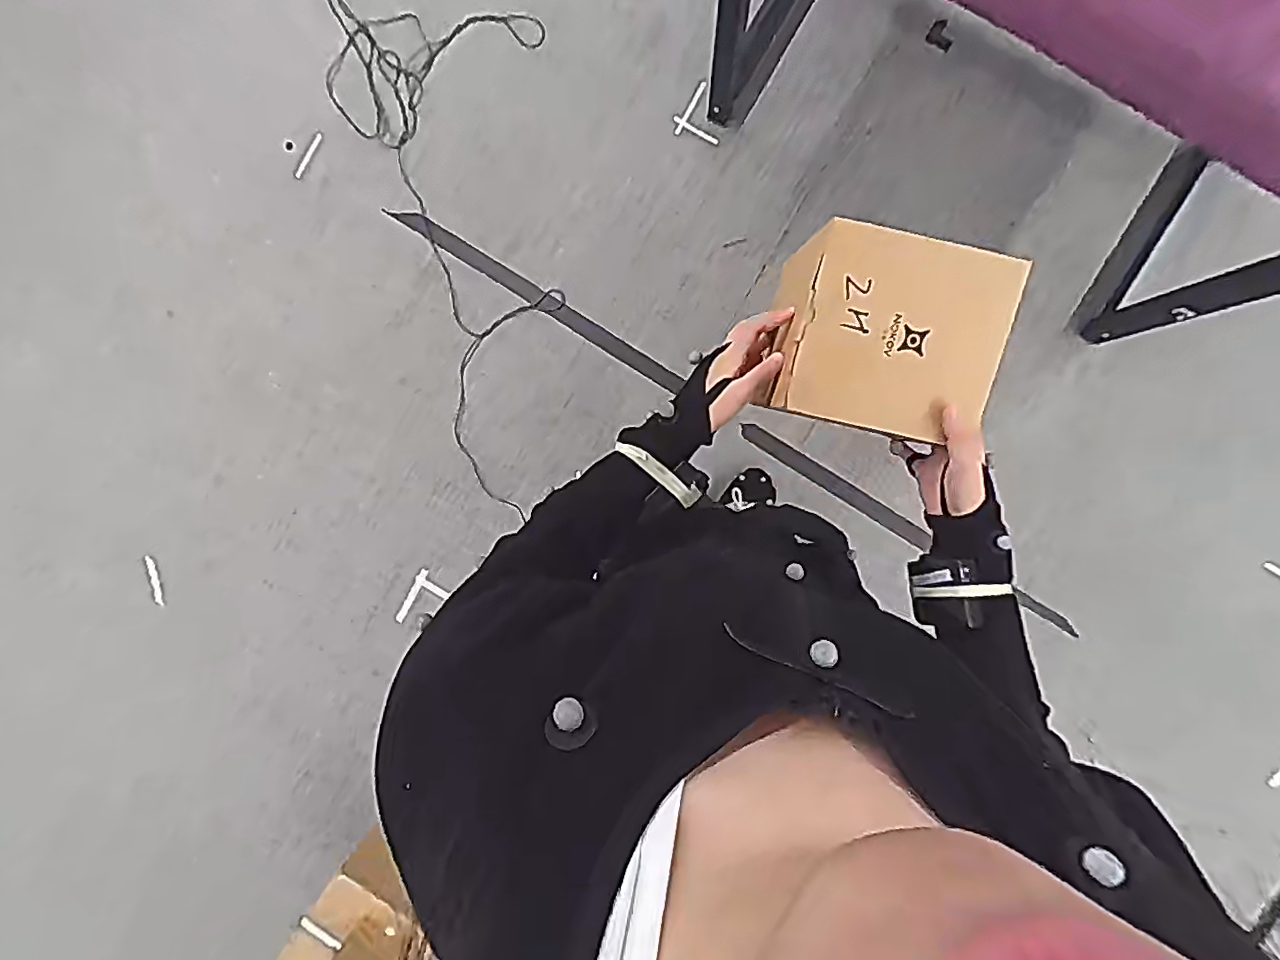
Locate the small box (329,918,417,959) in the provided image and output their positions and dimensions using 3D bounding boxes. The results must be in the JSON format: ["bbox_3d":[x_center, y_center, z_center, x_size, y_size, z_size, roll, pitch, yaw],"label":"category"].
[{"bbox_3d":[-0.639,1.148,1.211,0.179,0.176,0.168,31,92,3],"label":"small box"}]

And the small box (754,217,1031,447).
[{"bbox_3d":[0.231,-0.139,0.547,0.179,0.176,0.168,12,99,-1],"label":"small box"}]
